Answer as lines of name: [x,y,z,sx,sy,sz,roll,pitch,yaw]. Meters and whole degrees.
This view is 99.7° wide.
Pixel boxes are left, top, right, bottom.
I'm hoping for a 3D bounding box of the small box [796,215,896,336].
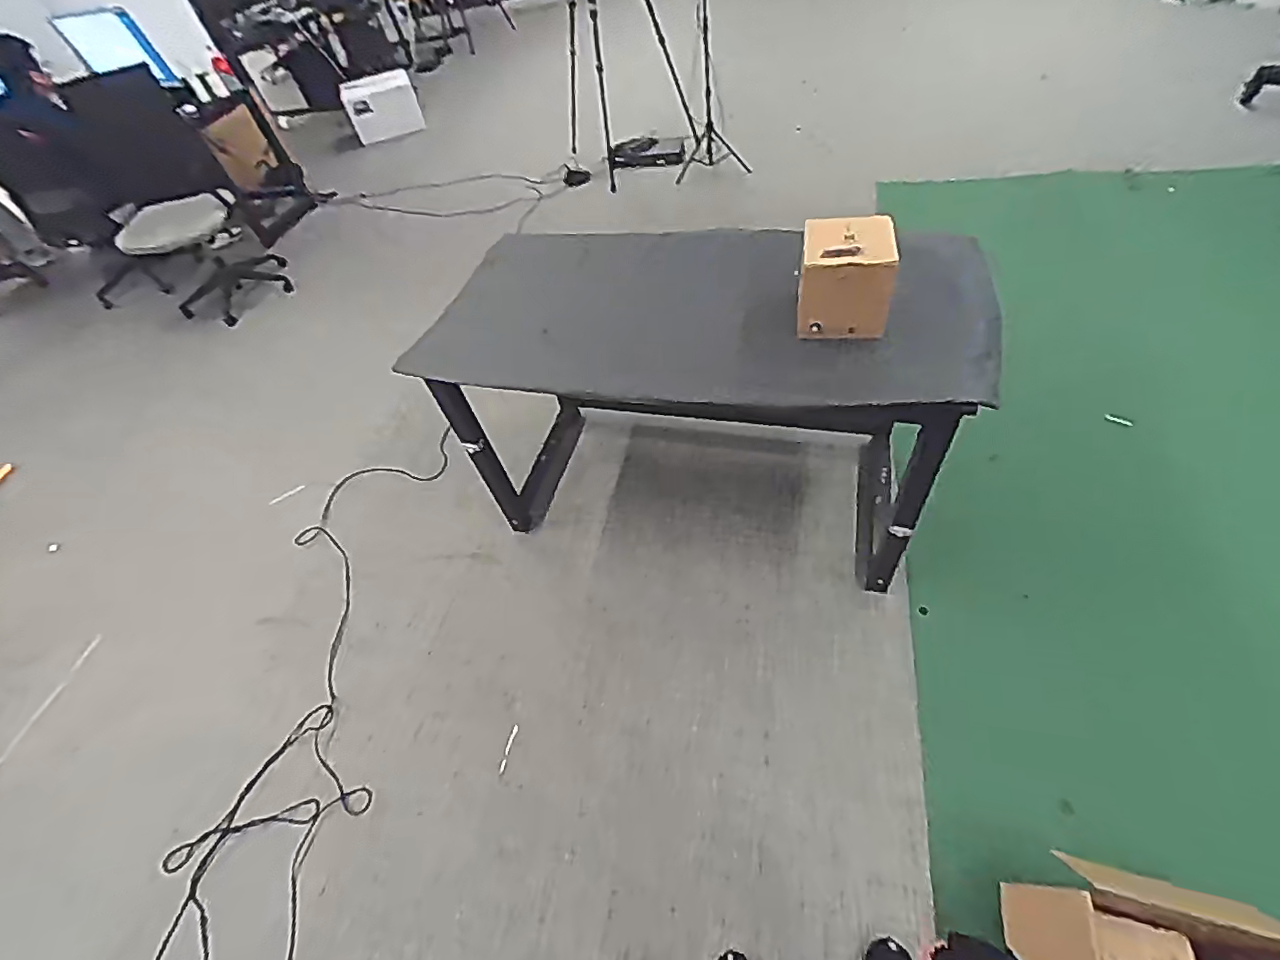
small box: [0.409,-0.407,1.093,0.168,0.176,0.179,4,51,14]
